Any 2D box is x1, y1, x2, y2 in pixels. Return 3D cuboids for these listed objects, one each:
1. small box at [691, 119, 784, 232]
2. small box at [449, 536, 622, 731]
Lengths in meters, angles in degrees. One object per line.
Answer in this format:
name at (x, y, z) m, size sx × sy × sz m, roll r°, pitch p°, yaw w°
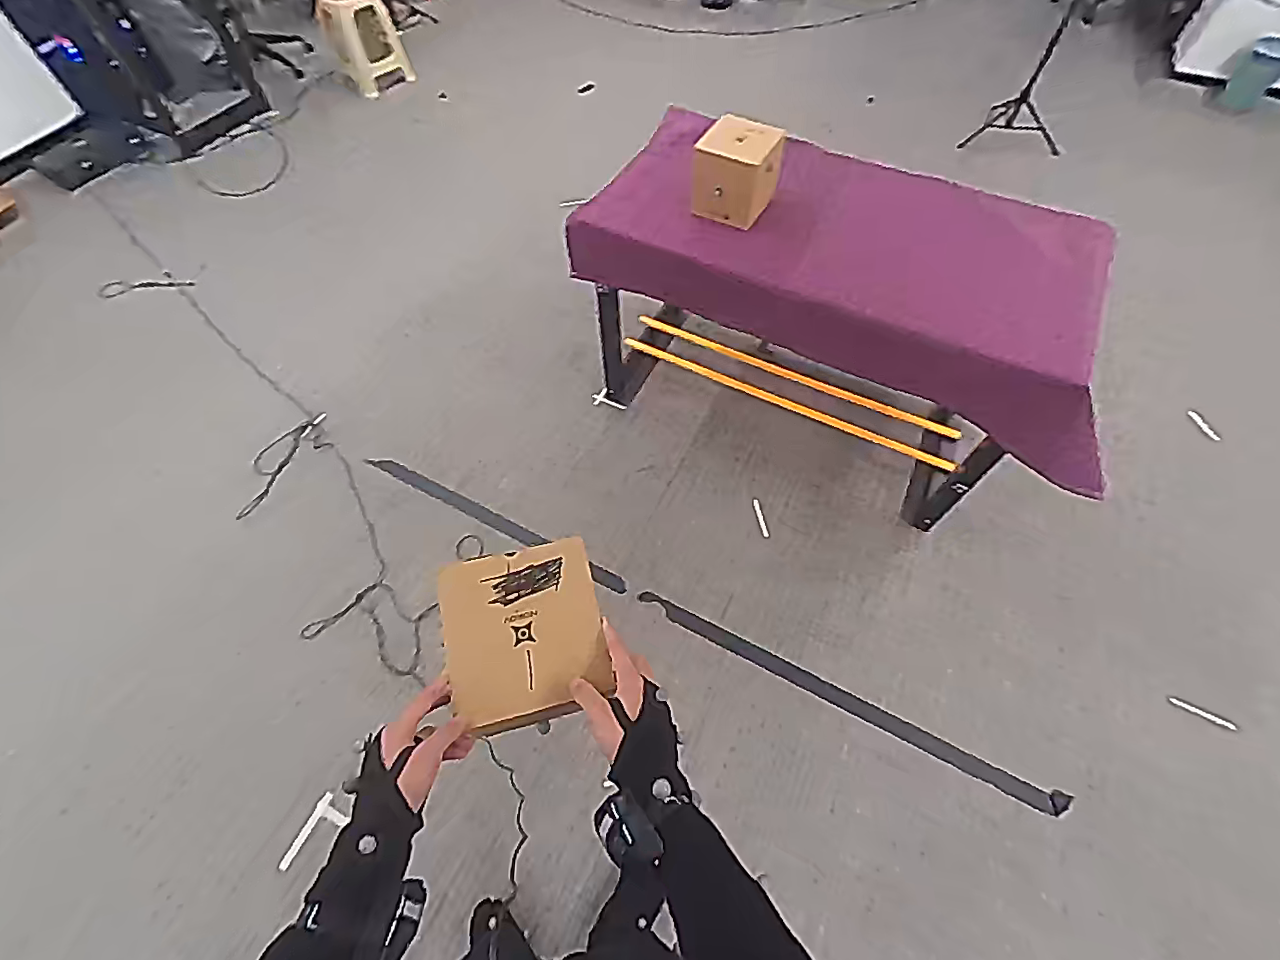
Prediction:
small box at (0.237, -0.756, 1.352) m, size 0.168 × 0.176 × 0.179 m, roll 27°, pitch 63°, yaw 15°
small box at (-0.122, 0.189, 0.648) m, size 0.168 × 0.176 × 0.179 m, roll -10°, pitch 65°, yaw -9°
